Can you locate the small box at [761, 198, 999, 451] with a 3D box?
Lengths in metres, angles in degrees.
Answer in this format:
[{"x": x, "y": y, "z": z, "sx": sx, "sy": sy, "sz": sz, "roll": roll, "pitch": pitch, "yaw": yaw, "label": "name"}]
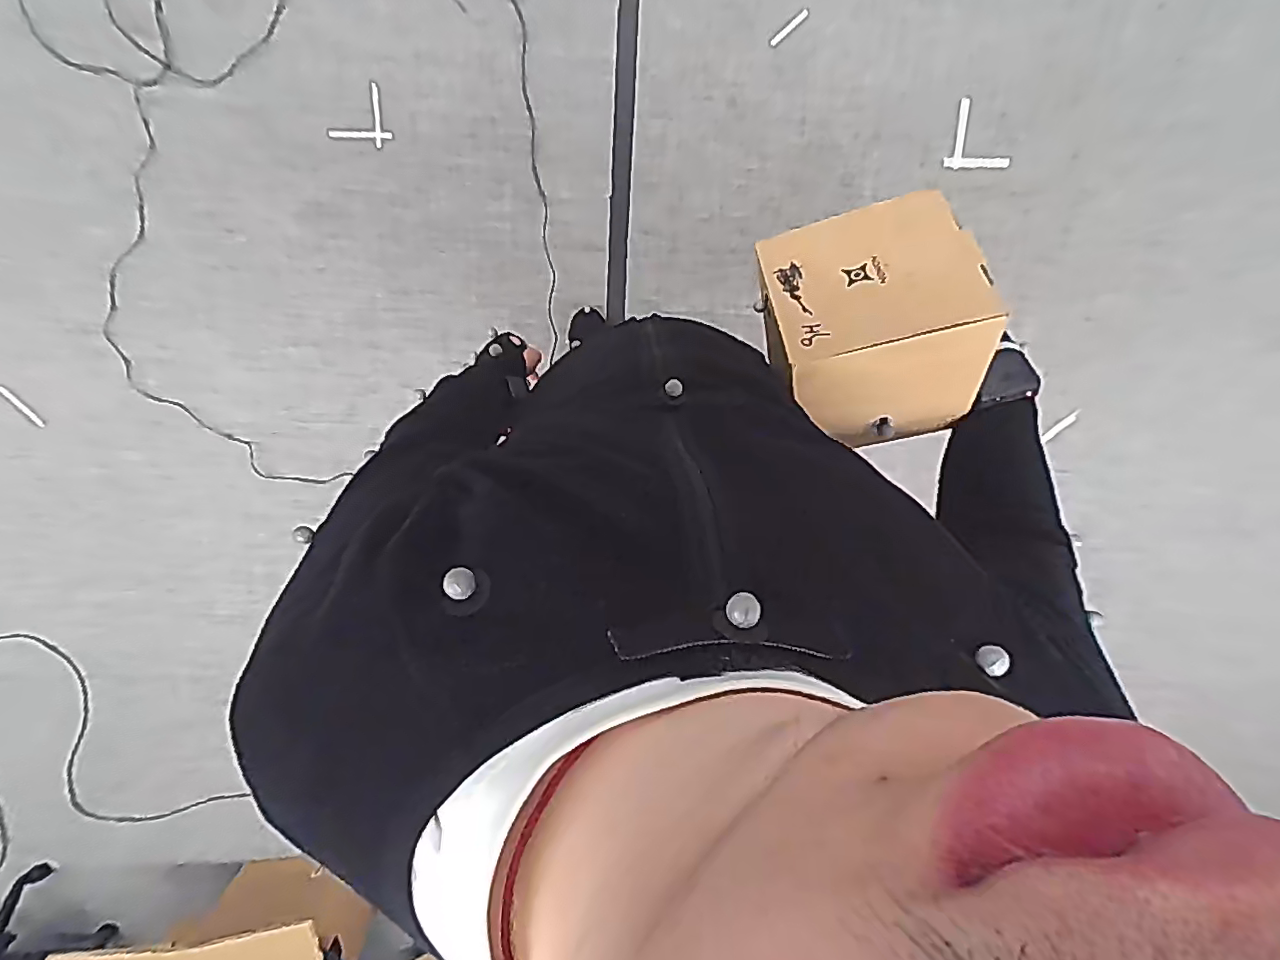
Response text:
[{"x": 0.233, "y": -0.153, "z": 0.574, "sx": 0.179, "sy": 0.168, "sz": 0.176, "roll": -12, "pitch": 149, "yaw": 11, "label": "small box"}]
